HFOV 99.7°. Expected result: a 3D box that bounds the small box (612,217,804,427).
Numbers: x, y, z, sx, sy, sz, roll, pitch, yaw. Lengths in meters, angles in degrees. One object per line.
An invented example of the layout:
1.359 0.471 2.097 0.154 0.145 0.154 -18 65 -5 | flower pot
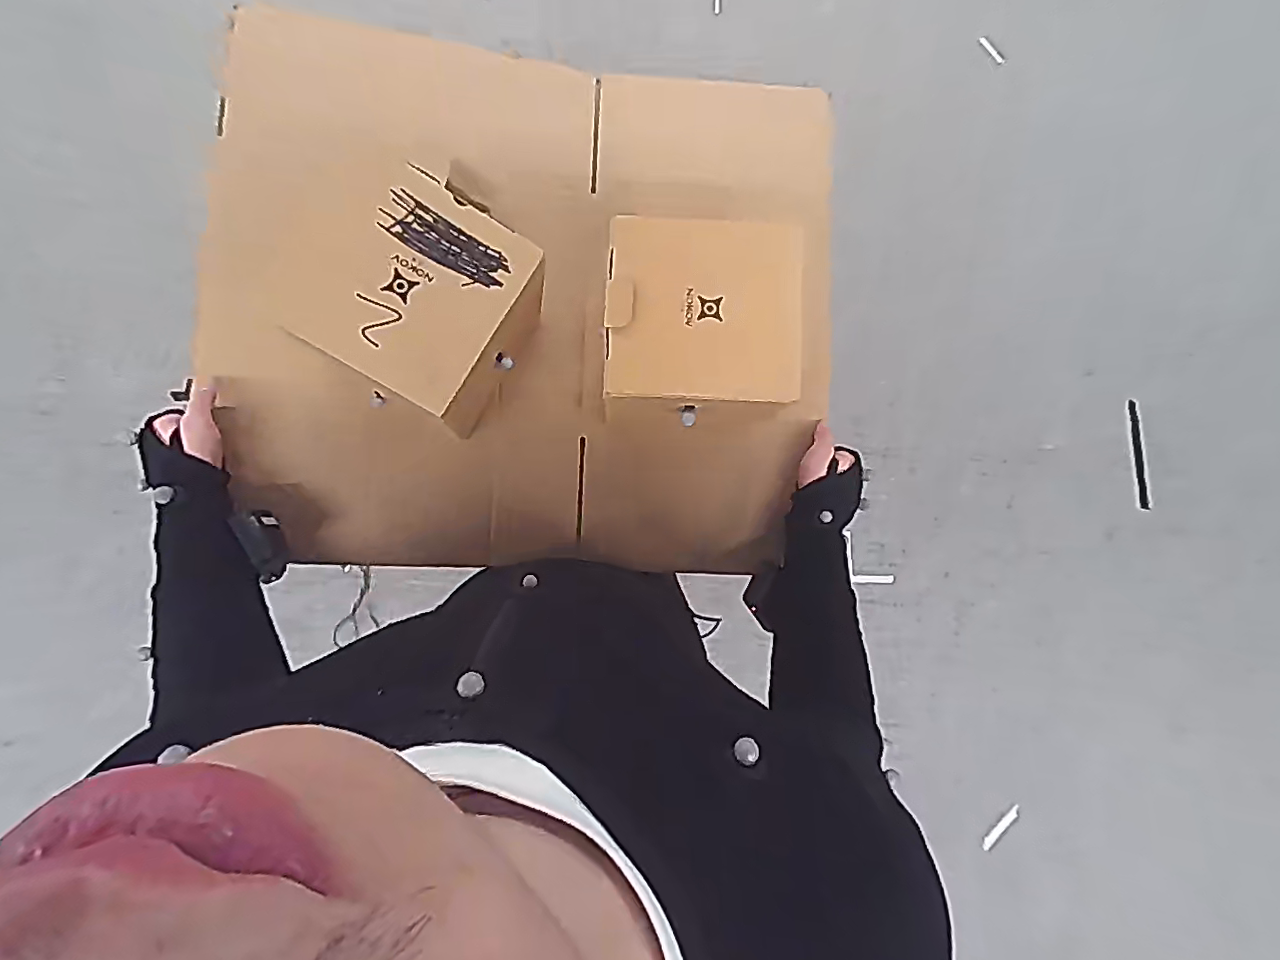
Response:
0.062 -0.153 0.579 0.179 0.176 0.168 2 85 -1 | small box
